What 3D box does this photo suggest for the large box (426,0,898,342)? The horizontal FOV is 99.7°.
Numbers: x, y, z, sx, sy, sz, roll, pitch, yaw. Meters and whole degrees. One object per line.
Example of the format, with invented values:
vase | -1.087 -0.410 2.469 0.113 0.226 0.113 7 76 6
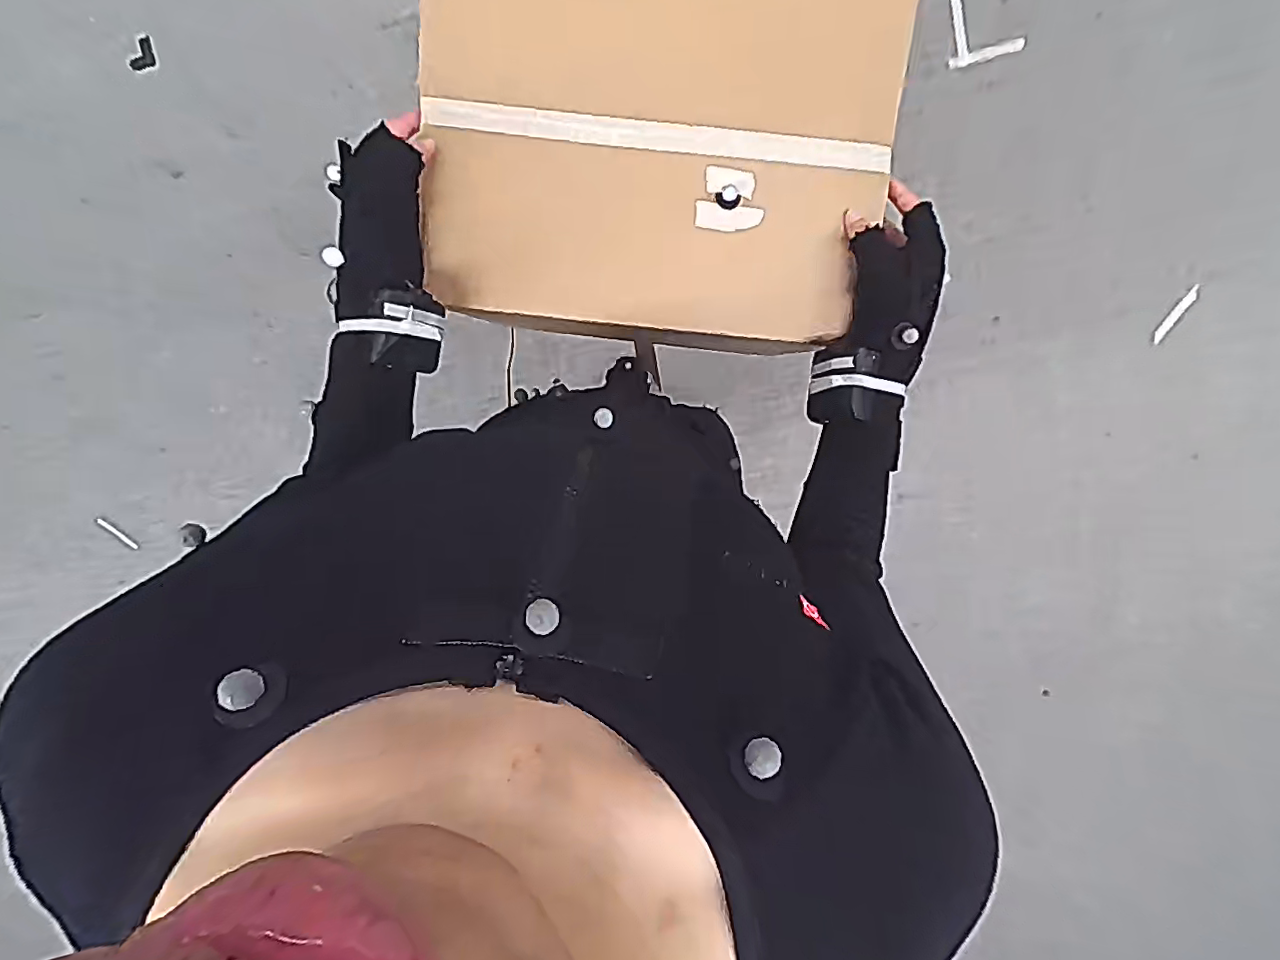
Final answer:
large box | 0.009 -0.338 0.620 0.408 0.320 0.320 5 102 -1
